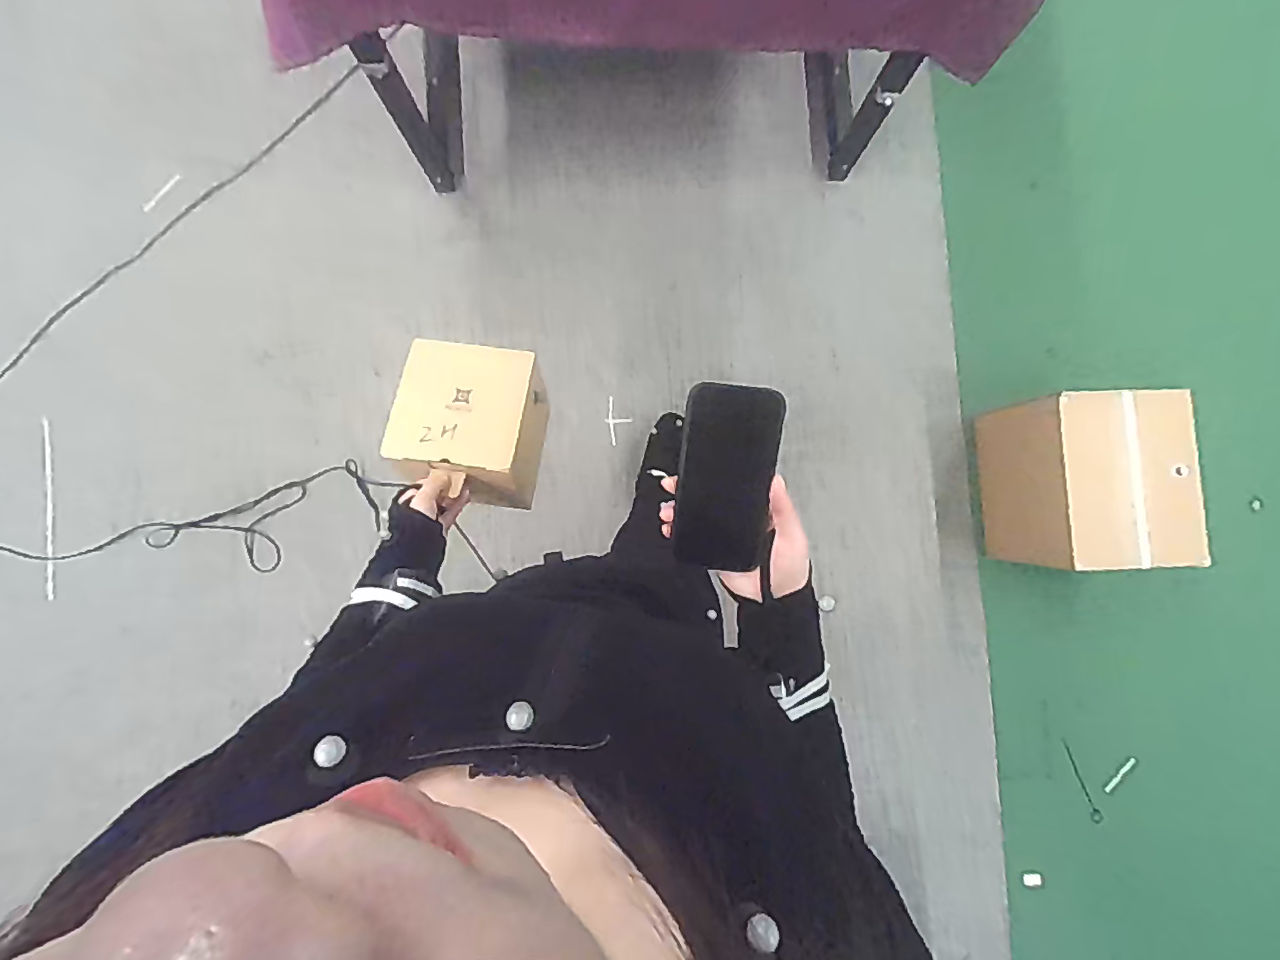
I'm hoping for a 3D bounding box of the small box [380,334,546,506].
[{"bbox_3d":[-0.234,-0.078,0.770,0.168,0.176,0.179,7,70,1],"label":"small box"}]
